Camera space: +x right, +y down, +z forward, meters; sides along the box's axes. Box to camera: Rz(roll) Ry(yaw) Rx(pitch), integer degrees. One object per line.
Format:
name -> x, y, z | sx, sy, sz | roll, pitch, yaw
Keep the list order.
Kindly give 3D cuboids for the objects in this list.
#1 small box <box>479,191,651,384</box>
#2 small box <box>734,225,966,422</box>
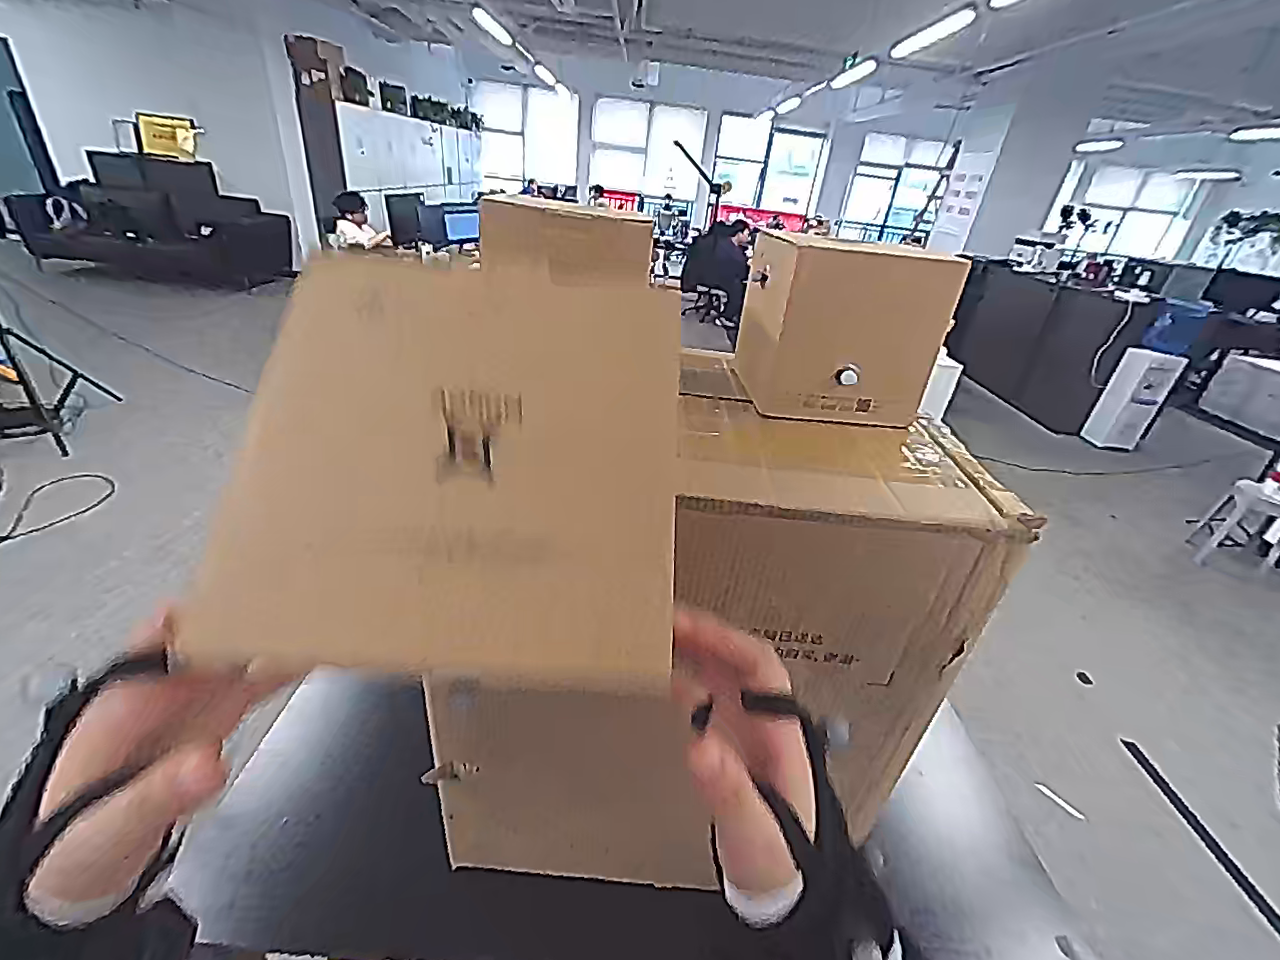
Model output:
small box -> -0.082, -0.222, 0.617 | 0.168, 0.176, 0.179 | 5, 28, -4
small box -> 0.209, -0.178, 0.601 | 0.168, 0.176, 0.179 | 4, 29, -4
